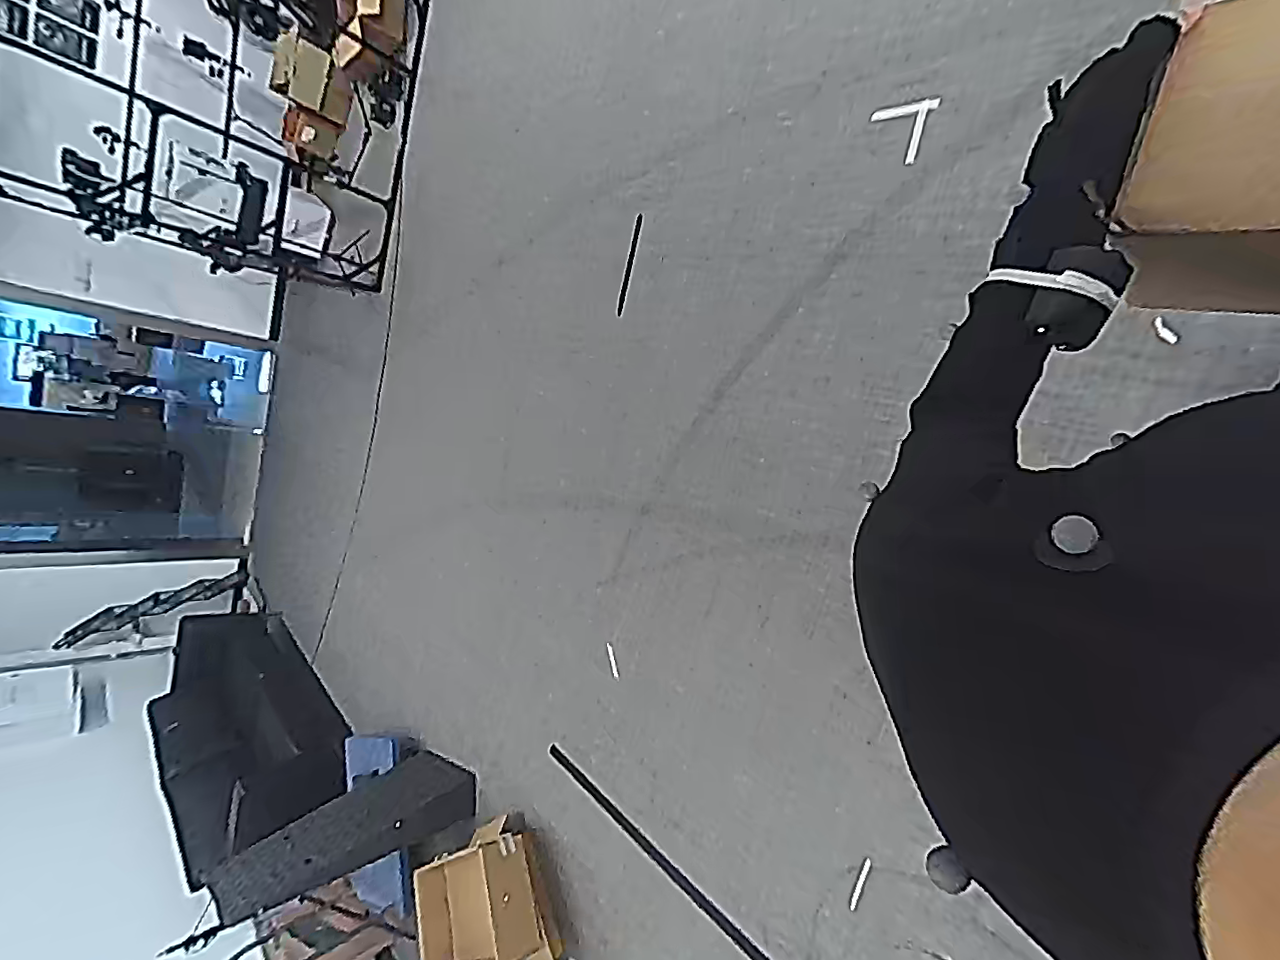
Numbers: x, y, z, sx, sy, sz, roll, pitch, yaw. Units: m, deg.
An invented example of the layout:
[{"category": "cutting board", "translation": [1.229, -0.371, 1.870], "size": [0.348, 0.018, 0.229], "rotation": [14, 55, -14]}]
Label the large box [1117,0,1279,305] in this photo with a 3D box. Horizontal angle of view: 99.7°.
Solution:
[{"category": "large box", "translation": [0.630, -0.300, 0.366], "size": [0.408, 0.320, 0.320], "rotation": [20, 108, 41]}]
